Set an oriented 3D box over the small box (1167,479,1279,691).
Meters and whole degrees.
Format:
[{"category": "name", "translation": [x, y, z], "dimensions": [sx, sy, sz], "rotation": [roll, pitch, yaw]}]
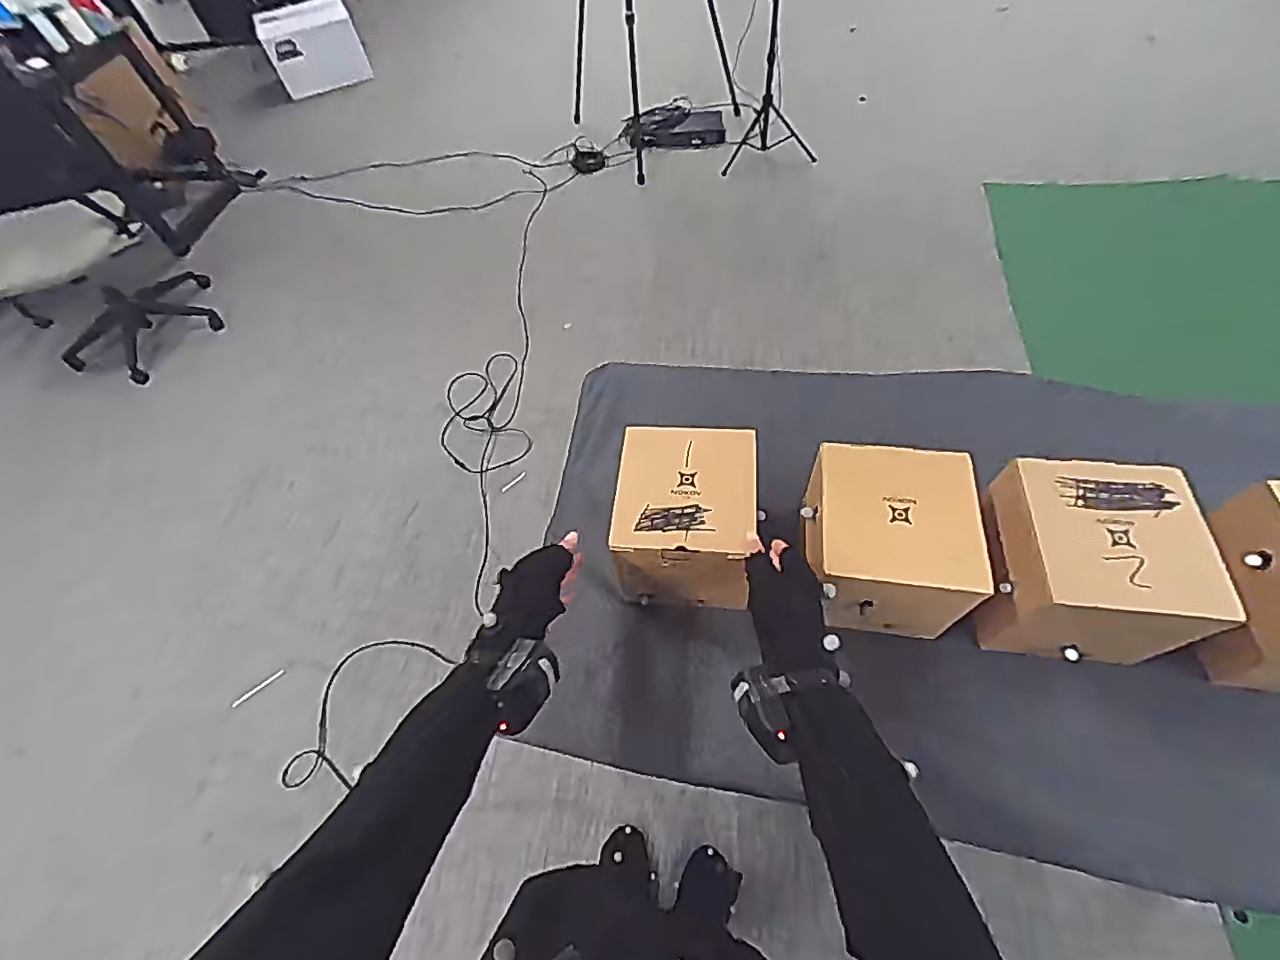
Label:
[{"category": "small box", "translation": [0.734, 0.121, 0.580], "dimensions": [0.168, 0.176, 0.179], "rotation": [4, 57, 10]}]
